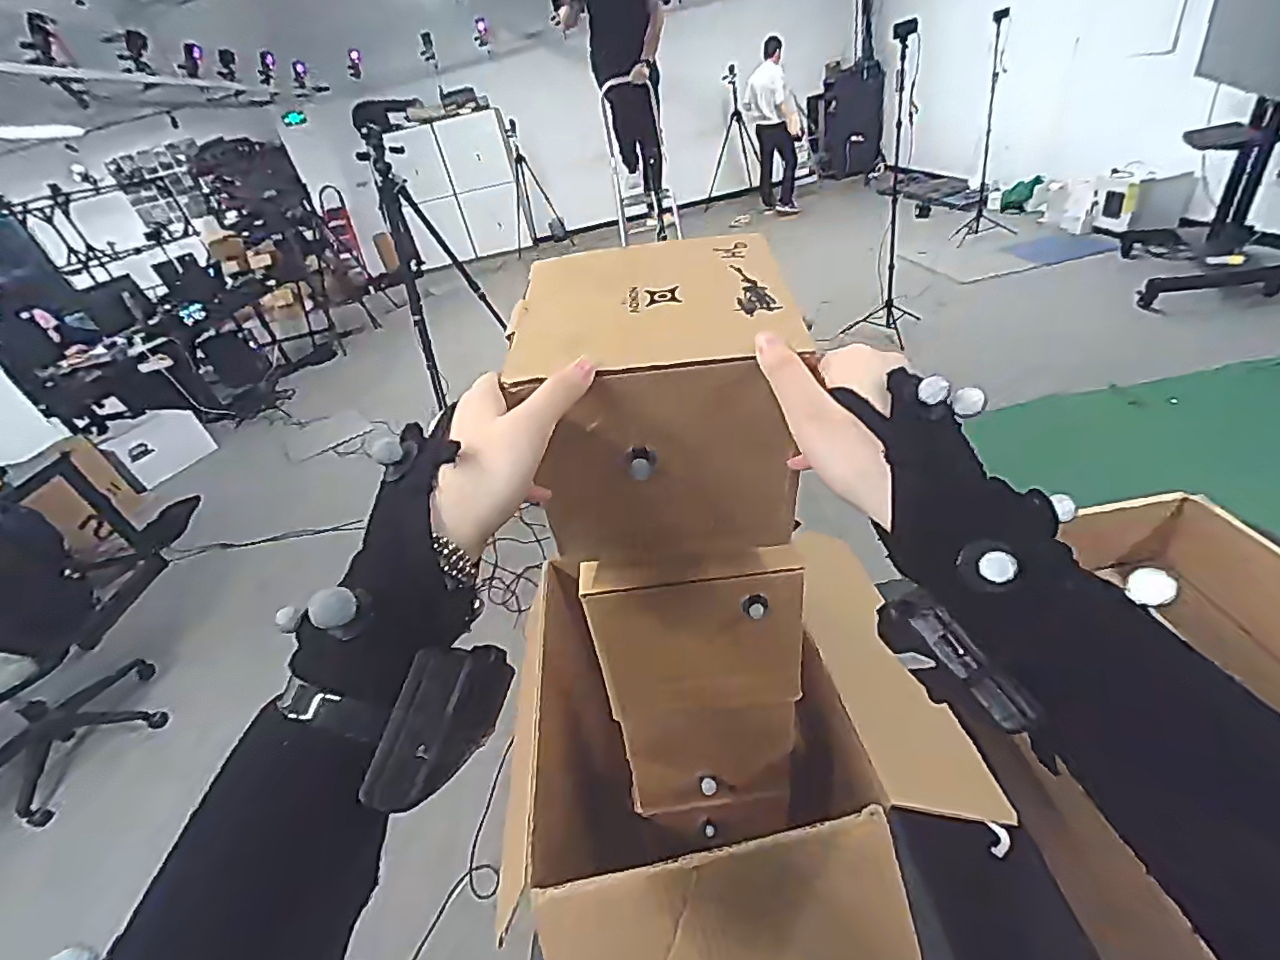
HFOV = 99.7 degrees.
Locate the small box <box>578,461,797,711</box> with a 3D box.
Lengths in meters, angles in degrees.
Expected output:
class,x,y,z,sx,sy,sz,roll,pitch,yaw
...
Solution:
class,x,y,z,sx,sy,sz,roll,pitch,yaw
small box,0.043,0.102,0.527,0.179,0.176,0.168,-6,34,1
